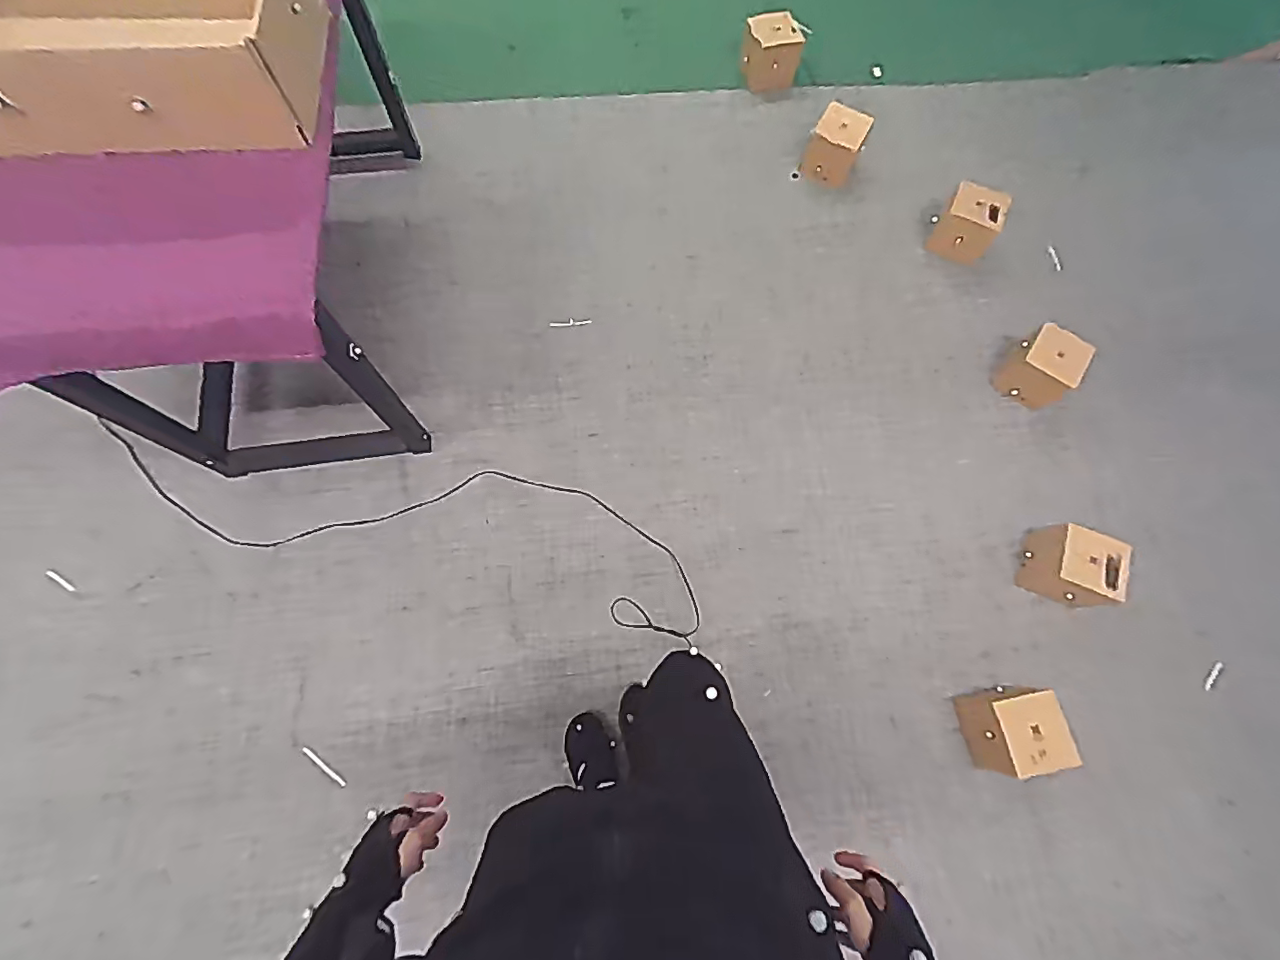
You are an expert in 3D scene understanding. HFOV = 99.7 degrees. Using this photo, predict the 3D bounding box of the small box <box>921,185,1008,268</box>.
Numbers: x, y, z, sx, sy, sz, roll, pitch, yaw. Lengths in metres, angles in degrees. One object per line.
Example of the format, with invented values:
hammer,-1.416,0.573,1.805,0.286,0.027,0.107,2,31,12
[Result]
small box,1.116,-0.868,1.869,0.179,0.176,0.168,24,72,5

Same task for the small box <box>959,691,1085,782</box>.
small box,0.948,0.635,1.362,0.168,0.176,0.179,-10,73,-5

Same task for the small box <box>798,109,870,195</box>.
small box,0.693,-1.180,1.954,0.168,0.176,0.179,28,74,6

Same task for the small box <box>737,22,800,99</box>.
small box,0.486,-1.611,2.085,0.179,0.176,0.168,-16,73,-8
